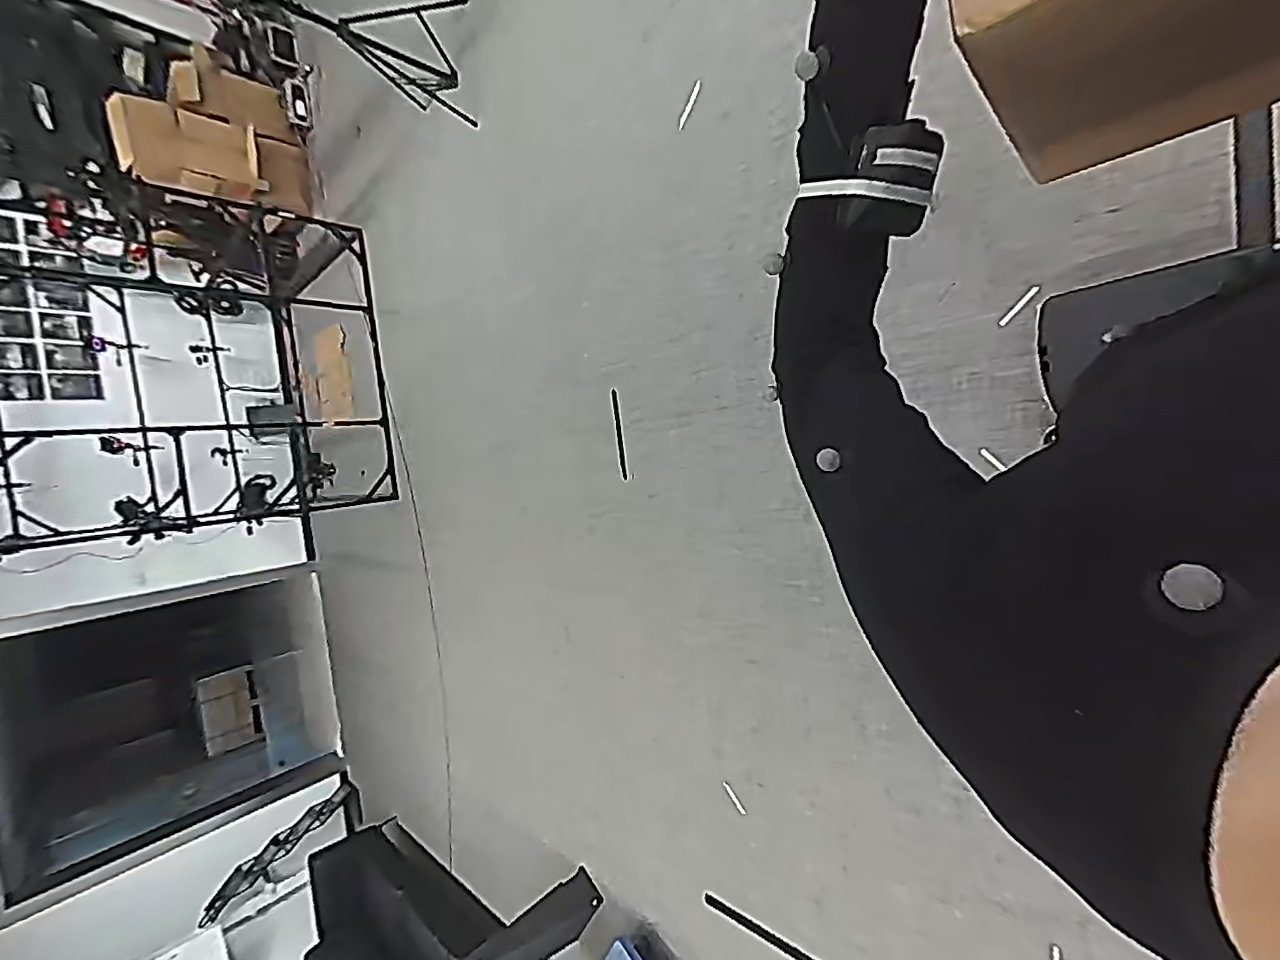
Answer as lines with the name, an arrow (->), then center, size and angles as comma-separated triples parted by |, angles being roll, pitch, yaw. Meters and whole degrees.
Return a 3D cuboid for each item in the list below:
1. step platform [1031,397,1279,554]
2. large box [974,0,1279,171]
step platform -> 1.168, -0.011, 1.029 | 0.684, 0.204, 0.286 | -7, 91, 46
large box -> 0.426, -0.455, 0.296 | 0.408, 0.320, 0.320 | -5, 93, 44
